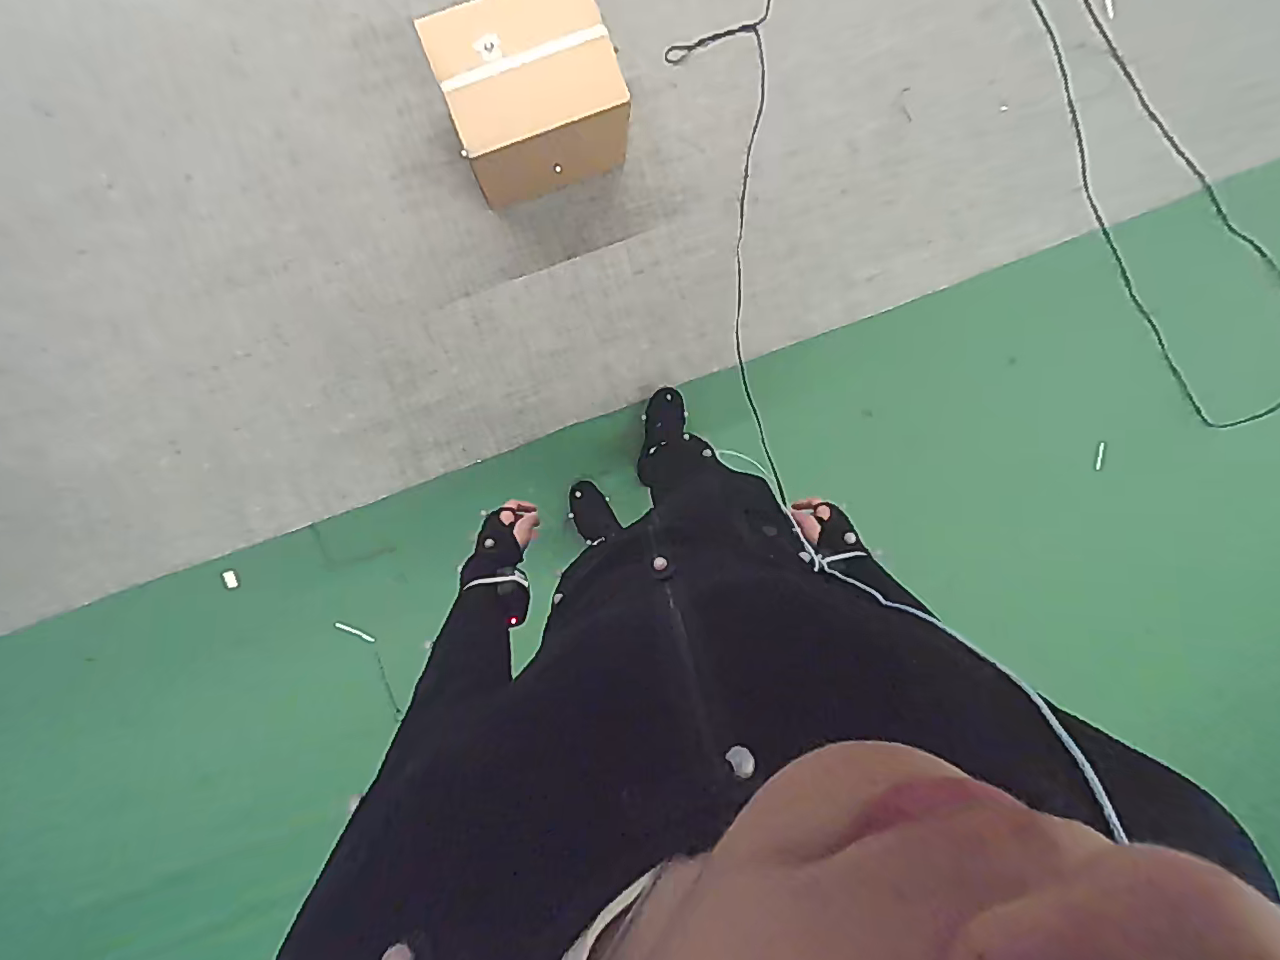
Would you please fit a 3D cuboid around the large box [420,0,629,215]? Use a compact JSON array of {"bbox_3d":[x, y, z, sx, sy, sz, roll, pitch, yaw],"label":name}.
[{"bbox_3d":[-0.272,-0.957,1.393,0.408,0.320,0.320,-23,95,-2],"label":"large box"}]
